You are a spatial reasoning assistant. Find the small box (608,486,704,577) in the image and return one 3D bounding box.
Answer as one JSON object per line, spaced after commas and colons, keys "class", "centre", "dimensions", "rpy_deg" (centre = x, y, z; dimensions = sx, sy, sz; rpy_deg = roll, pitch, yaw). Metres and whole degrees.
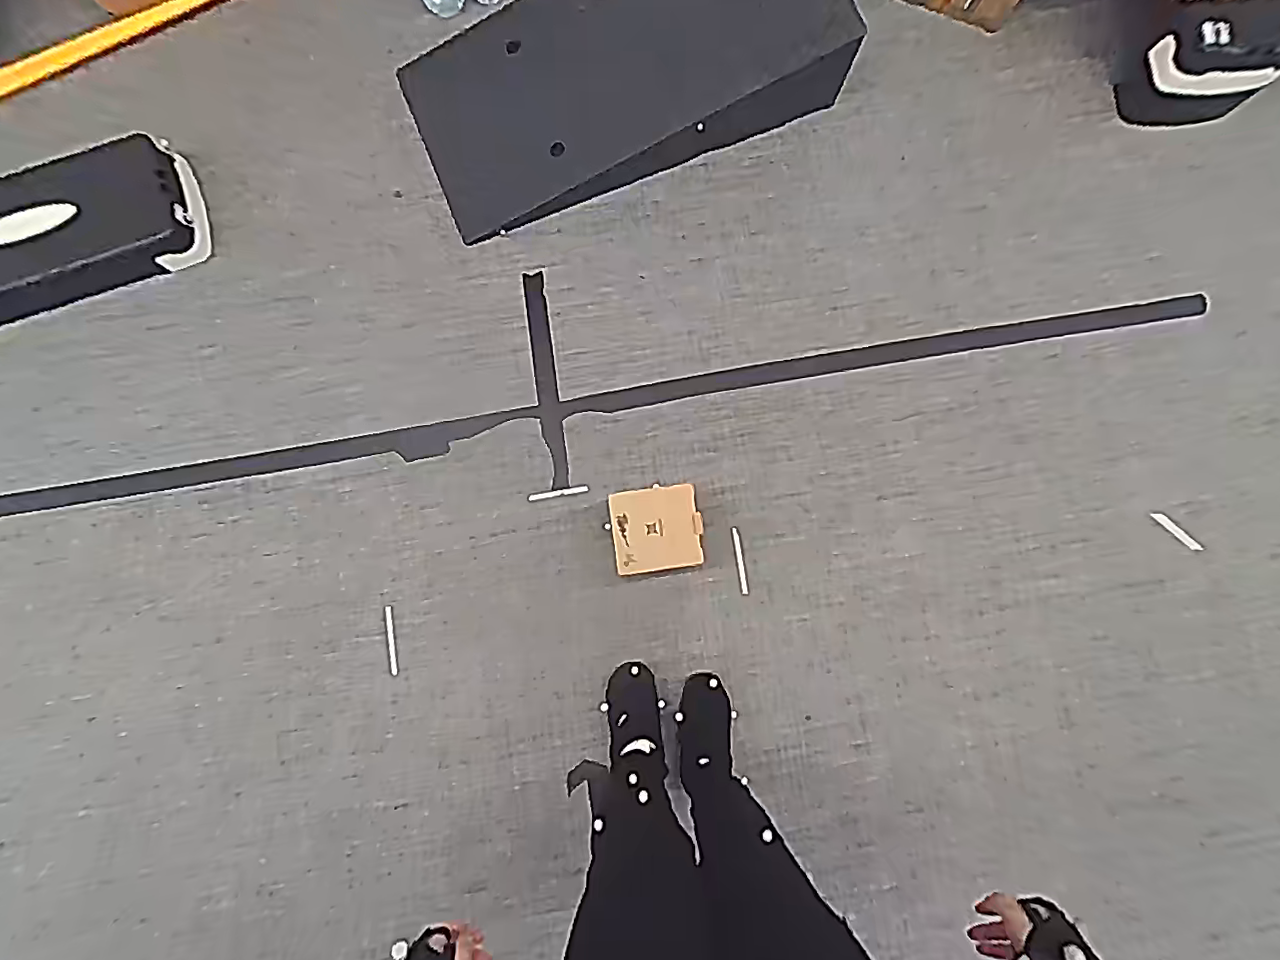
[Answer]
{"class": "small box", "centre": [0.027, 0.107, 1.140], "dimensions": [0.179, 0.176, 0.168], "rpy_deg": [-7, 84, -2]}
